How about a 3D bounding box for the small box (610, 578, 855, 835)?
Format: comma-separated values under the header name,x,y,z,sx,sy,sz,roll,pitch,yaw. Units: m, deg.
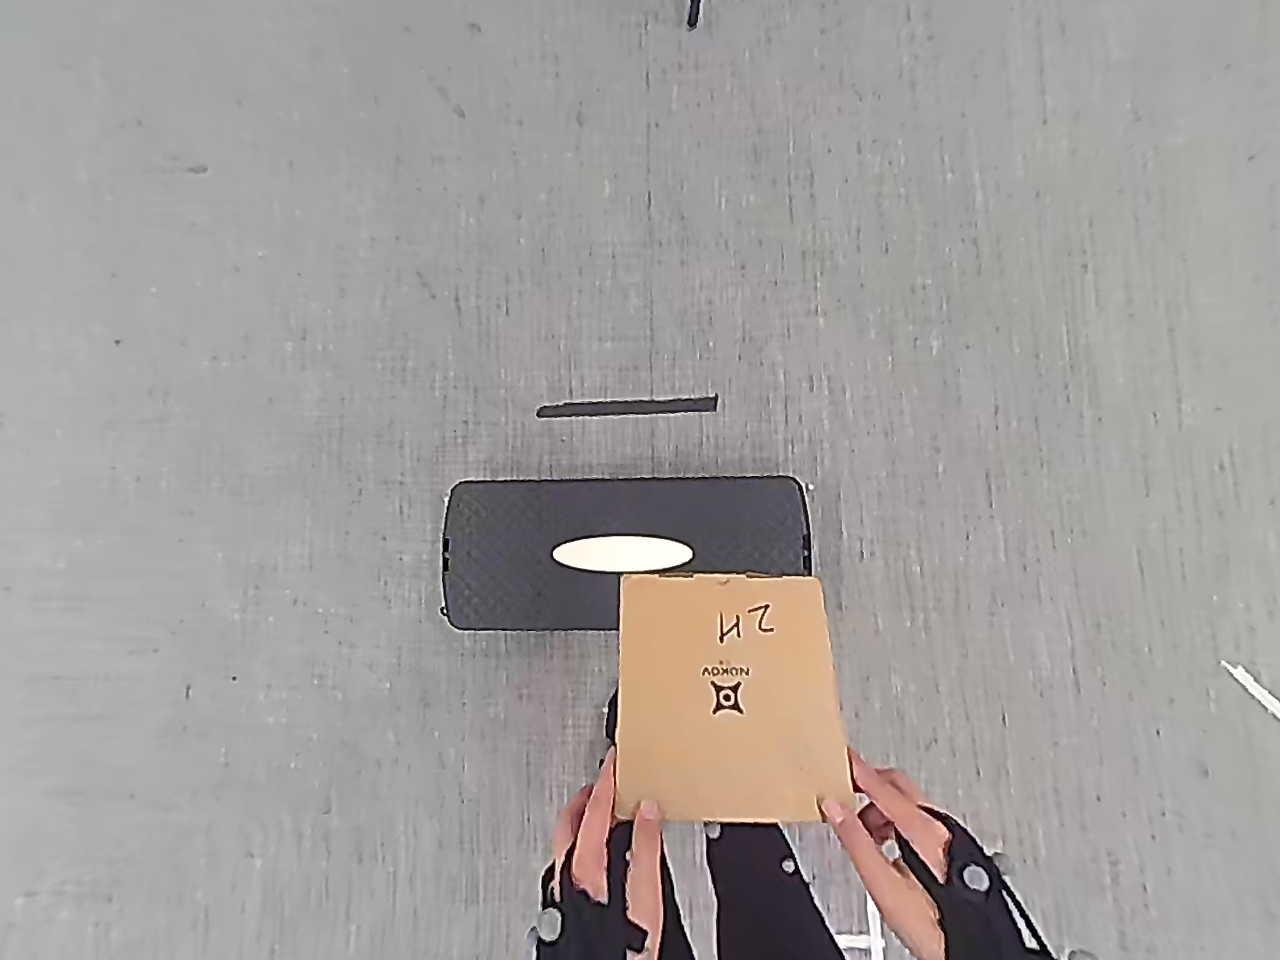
name,x,y,z,sx,sy,sz,roll,pitch,yaw
small box,0.063,0.195,0.467,0.168,0.176,0.179,0,60,0
